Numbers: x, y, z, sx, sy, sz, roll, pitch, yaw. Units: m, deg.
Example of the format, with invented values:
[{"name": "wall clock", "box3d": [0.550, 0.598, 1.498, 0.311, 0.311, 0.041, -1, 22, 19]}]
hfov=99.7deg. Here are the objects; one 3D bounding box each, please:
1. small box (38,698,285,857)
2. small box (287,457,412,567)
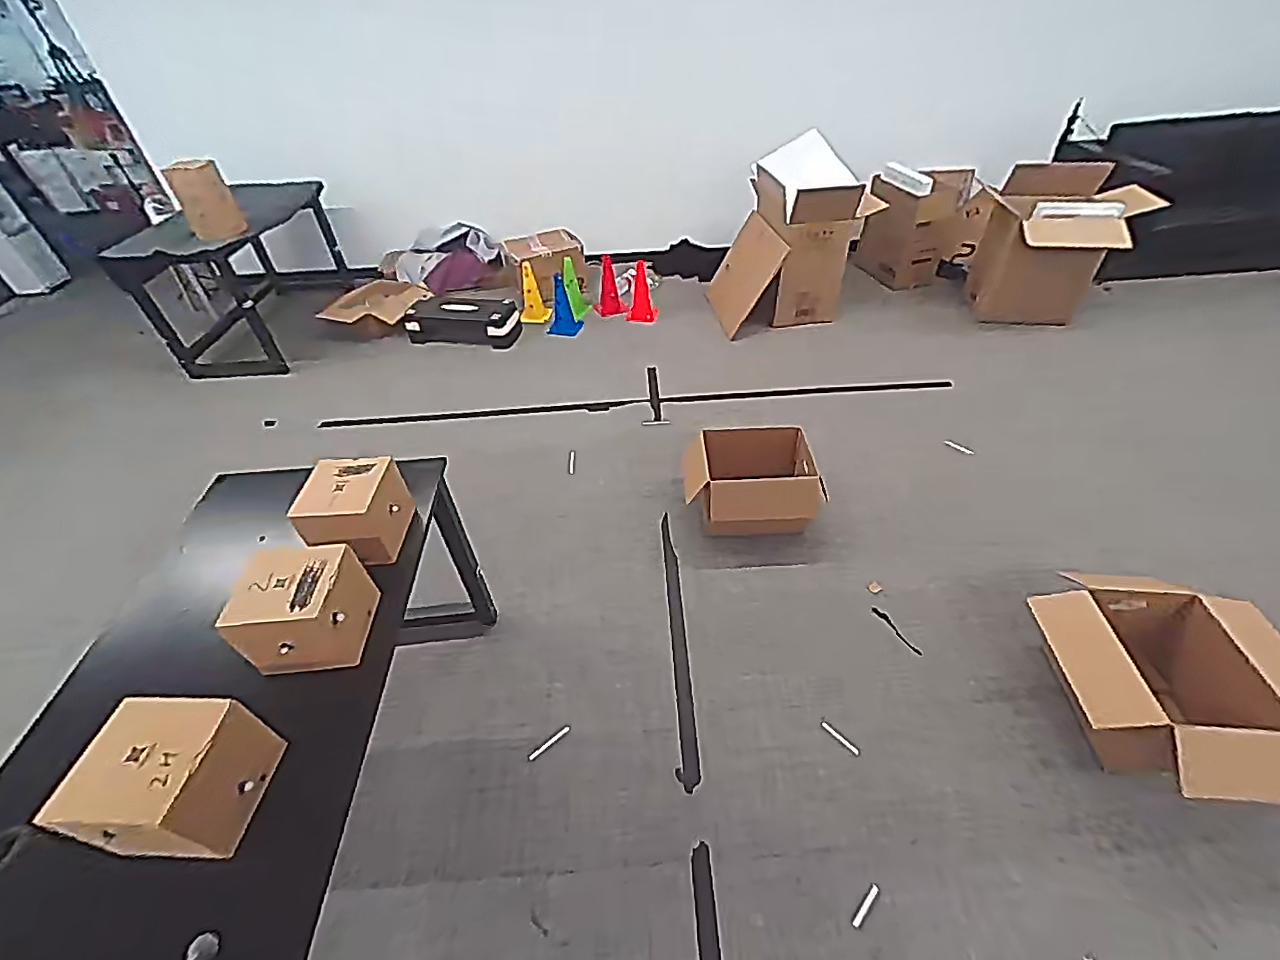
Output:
[{"name": "small box", "box3d": [-0.686, 0.443, 0.803, 0.179, 0.176, 0.168, 0, 44, 3]}, {"name": "small box", "box3d": [-0.627, 0.071, 1.196, 0.168, 0.176, 0.179, -3, 44, 1]}]
